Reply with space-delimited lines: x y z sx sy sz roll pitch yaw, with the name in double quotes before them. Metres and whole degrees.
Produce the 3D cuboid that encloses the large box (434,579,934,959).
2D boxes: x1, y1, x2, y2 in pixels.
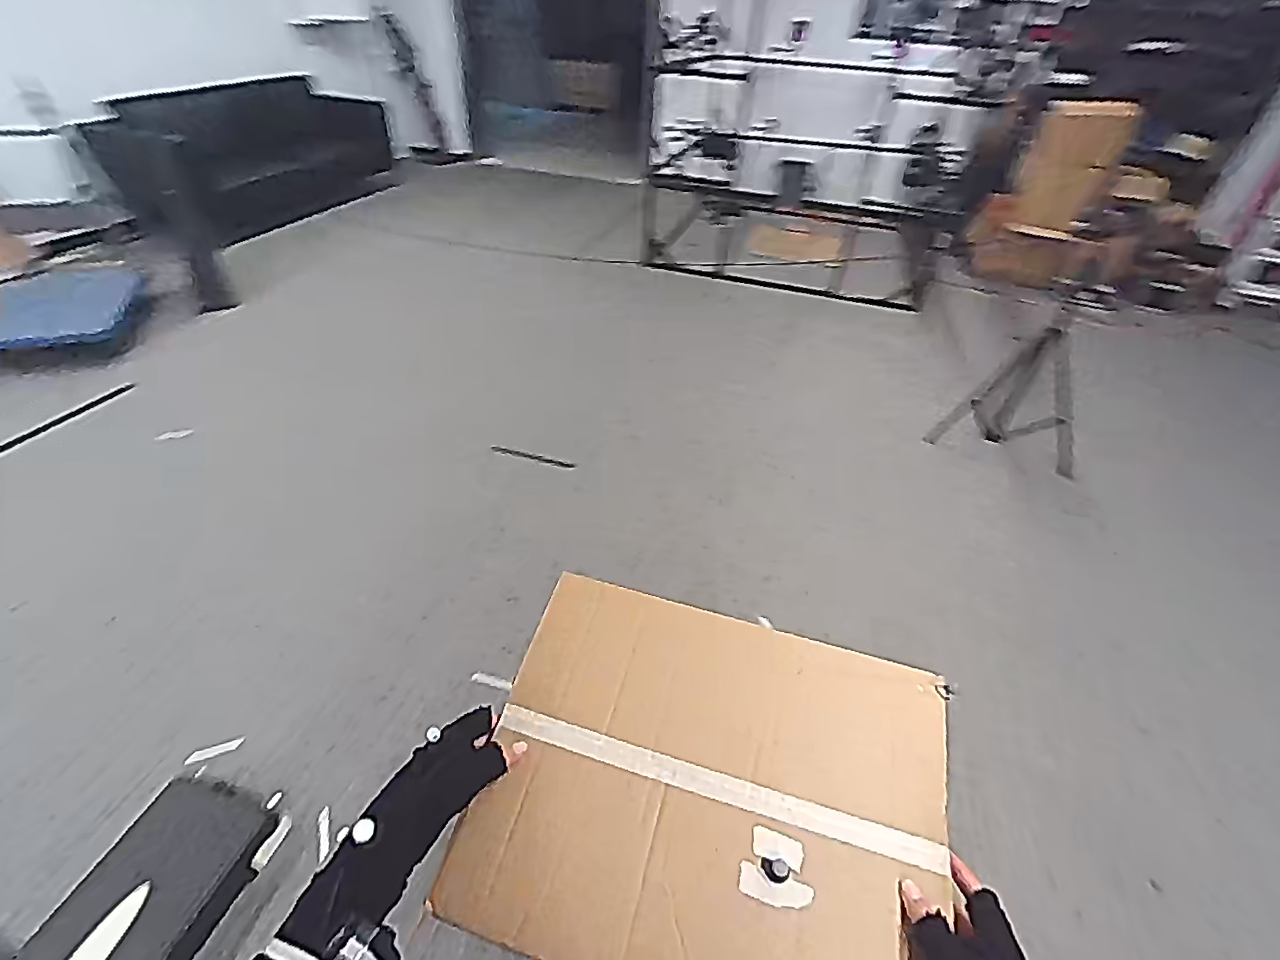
"large box" 0.058 0.356 0.615 0.408 0.320 0.320 13 56 9
